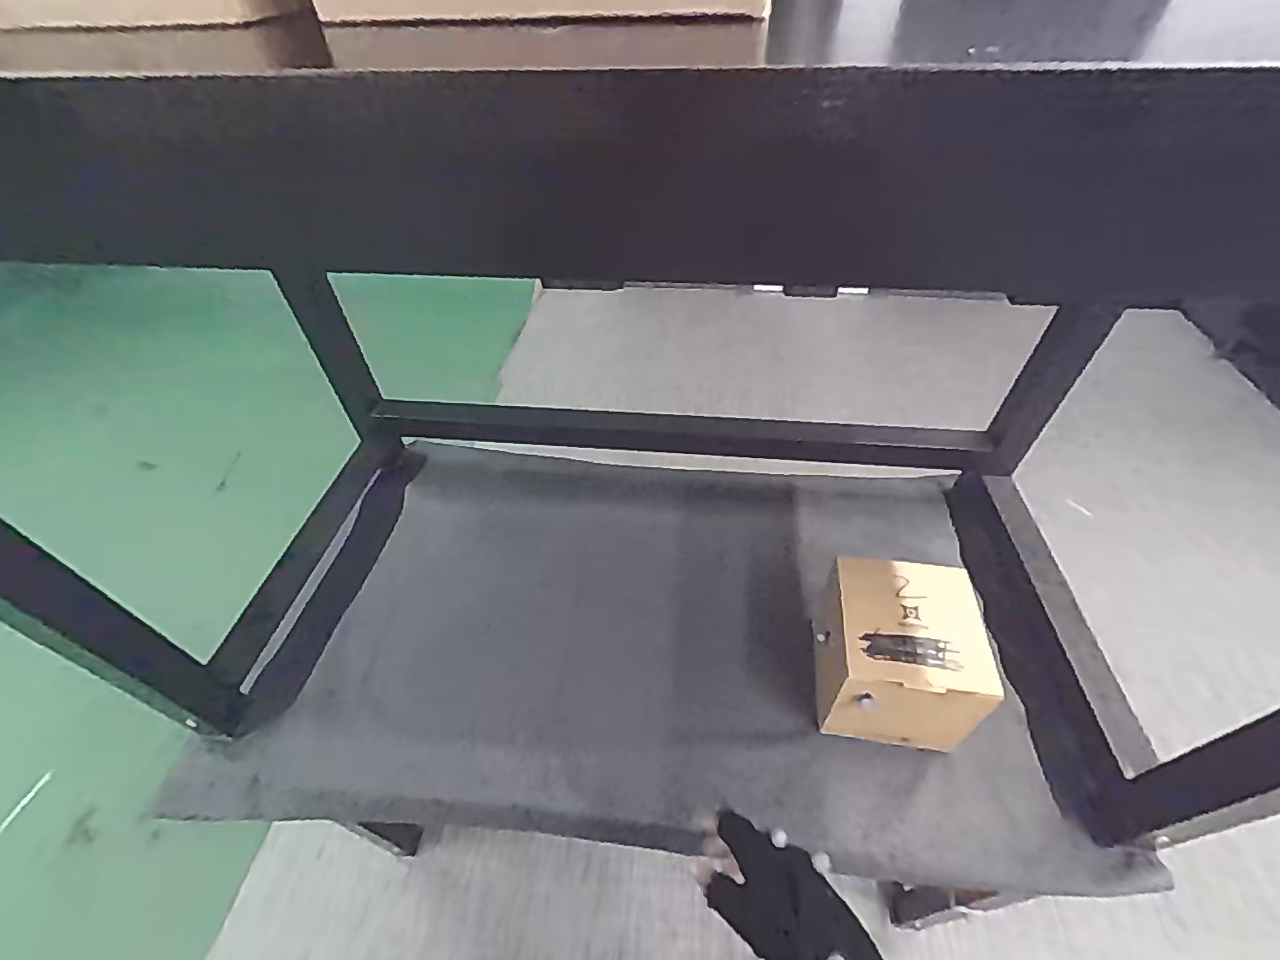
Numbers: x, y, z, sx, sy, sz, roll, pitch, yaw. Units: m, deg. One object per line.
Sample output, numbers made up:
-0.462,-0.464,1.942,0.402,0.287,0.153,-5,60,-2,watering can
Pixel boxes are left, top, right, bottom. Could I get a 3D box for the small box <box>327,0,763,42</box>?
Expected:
-0.033,-0.282,0.203,0.179,0.176,0.168,7,47,8,small box
